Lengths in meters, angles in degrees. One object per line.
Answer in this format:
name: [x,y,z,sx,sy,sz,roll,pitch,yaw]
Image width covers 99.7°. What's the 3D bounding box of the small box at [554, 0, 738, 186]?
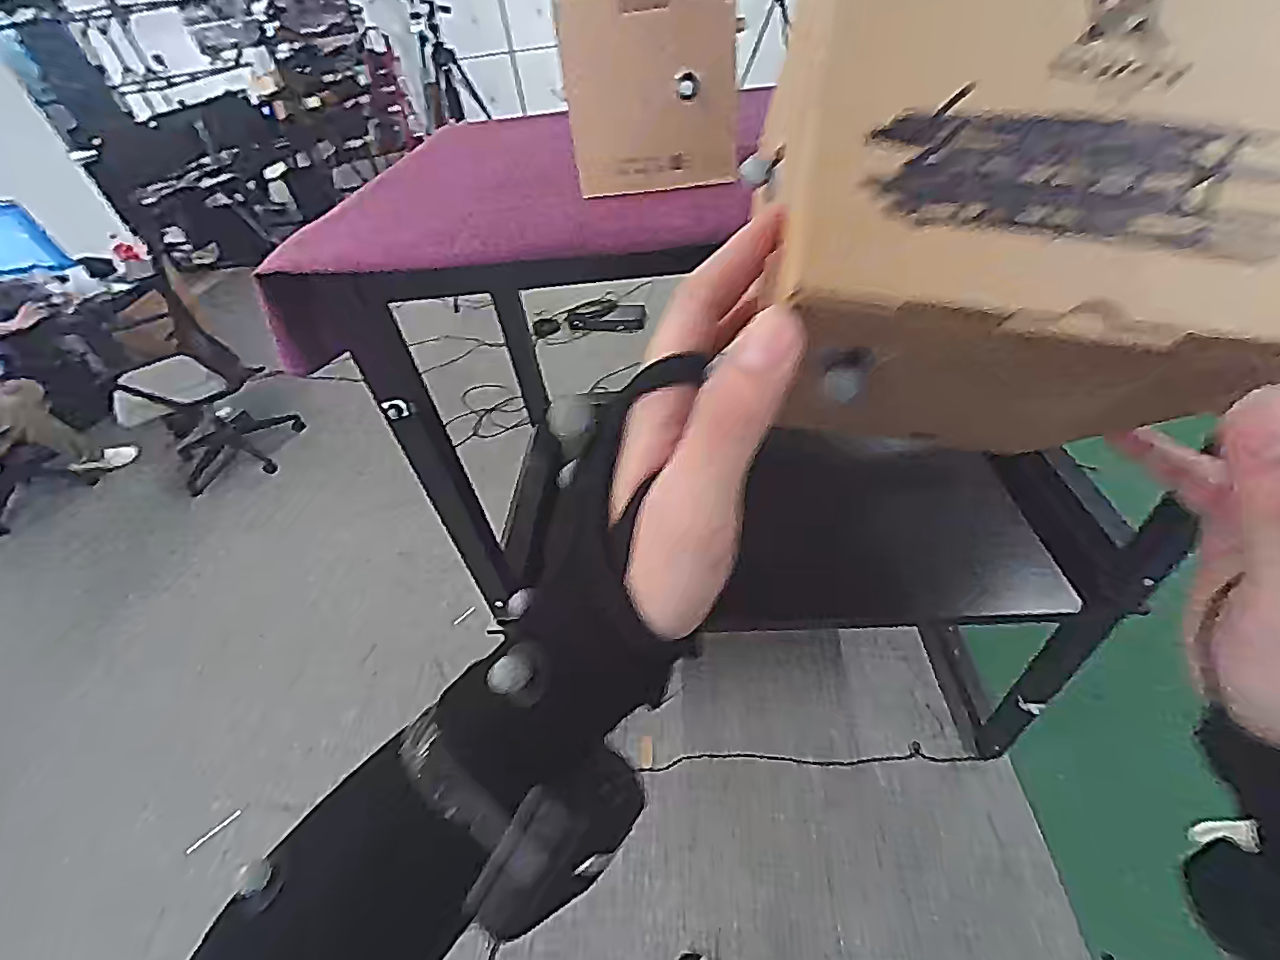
small box: [0.019,-0.427,0.581,0.168,0.176,0.179,-1,42,7]
